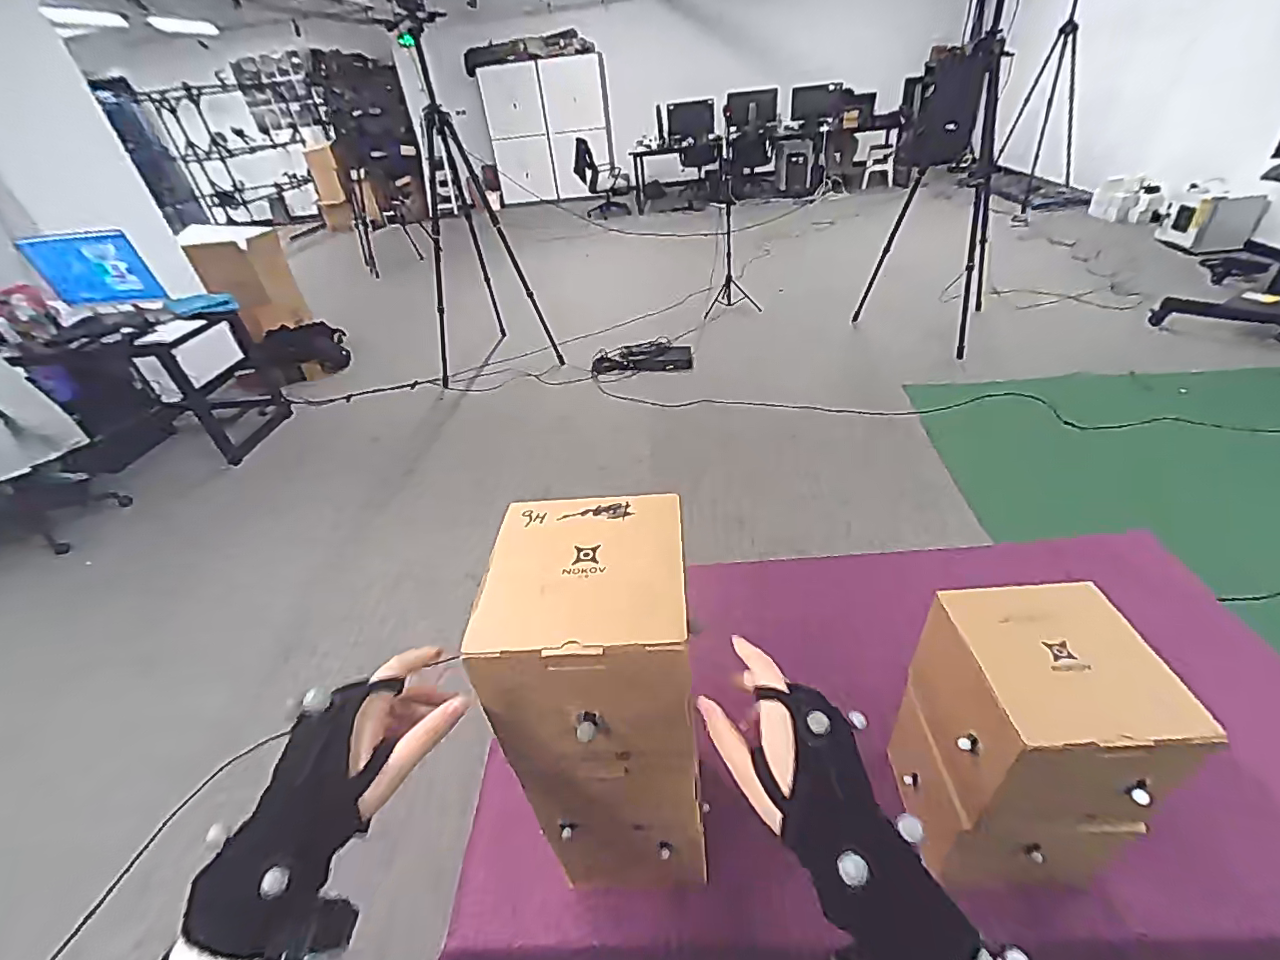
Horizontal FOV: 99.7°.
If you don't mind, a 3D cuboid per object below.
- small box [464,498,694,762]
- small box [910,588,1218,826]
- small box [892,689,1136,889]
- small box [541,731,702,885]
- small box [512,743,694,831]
[{"bbox_3d":[-0.037,0.137,0.497,0.168,0.176,0.179,-2,37,4],"label":"small box"},{"bbox_3d":[0.409,0.237,0.566,0.168,0.176,0.179,-3,36,4],"label":"small box"},{"bbox_3d":[0.424,0.372,0.657,0.179,0.176,0.168,-3,37,6],"label":"small box"},{"bbox_3d":[-0.014,0.398,0.696,0.179,0.176,0.168,-3,37,4],"label":"small box"},{"bbox_3d":[-0.028,0.265,0.600,0.168,0.176,0.179,-3,35,4],"label":"small box"}]
